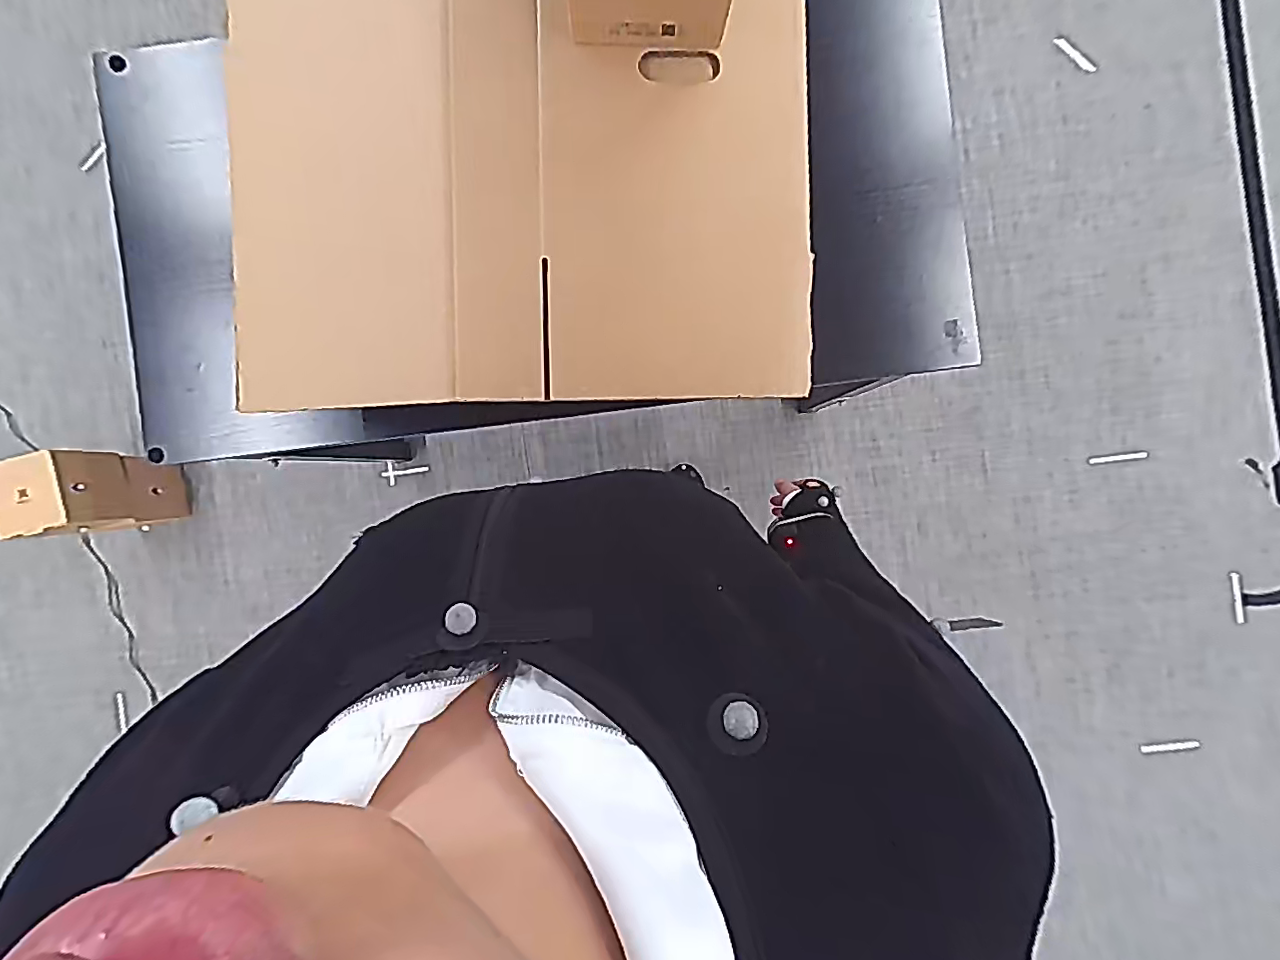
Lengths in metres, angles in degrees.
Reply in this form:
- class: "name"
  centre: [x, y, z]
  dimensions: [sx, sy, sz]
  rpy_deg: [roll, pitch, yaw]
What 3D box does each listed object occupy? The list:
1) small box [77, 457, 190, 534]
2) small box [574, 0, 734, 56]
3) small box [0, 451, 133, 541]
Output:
- class: "small box"
  centre: [-1.369, 0.041, 1.455]
  dimensions: [0.168, 0.176, 0.179]
  rpy_deg: [-11, 90, 2]
- class: "small box"
  centre: [0.014, -0.560, 0.517]
  dimensions: [0.168, 0.176, 0.179]
  rpy_deg: [0, 88, -2]
- class: "small box"
  centre: [-1.375, 0.036, 1.292]
  dimensions: [0.168, 0.176, 0.179]
  rpy_deg: [-14, 89, 1]
